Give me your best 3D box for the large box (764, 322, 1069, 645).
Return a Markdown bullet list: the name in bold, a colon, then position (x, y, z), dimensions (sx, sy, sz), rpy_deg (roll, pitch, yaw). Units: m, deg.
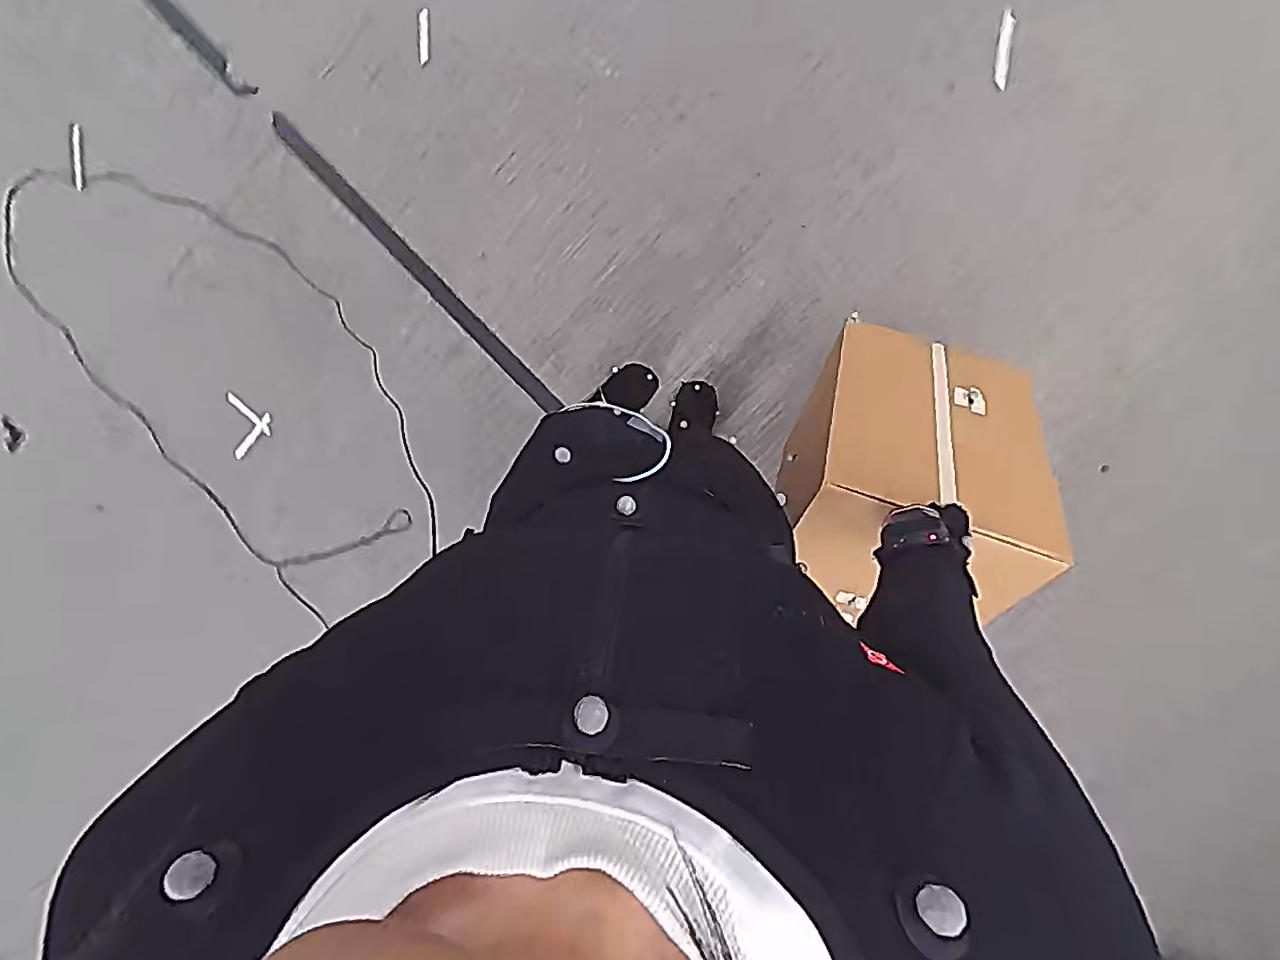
- **large box**: position (0.423, 0.002, 0.921), dimensions (0.320, 0.408, 0.320), rpy_deg (18, 139, 4)
